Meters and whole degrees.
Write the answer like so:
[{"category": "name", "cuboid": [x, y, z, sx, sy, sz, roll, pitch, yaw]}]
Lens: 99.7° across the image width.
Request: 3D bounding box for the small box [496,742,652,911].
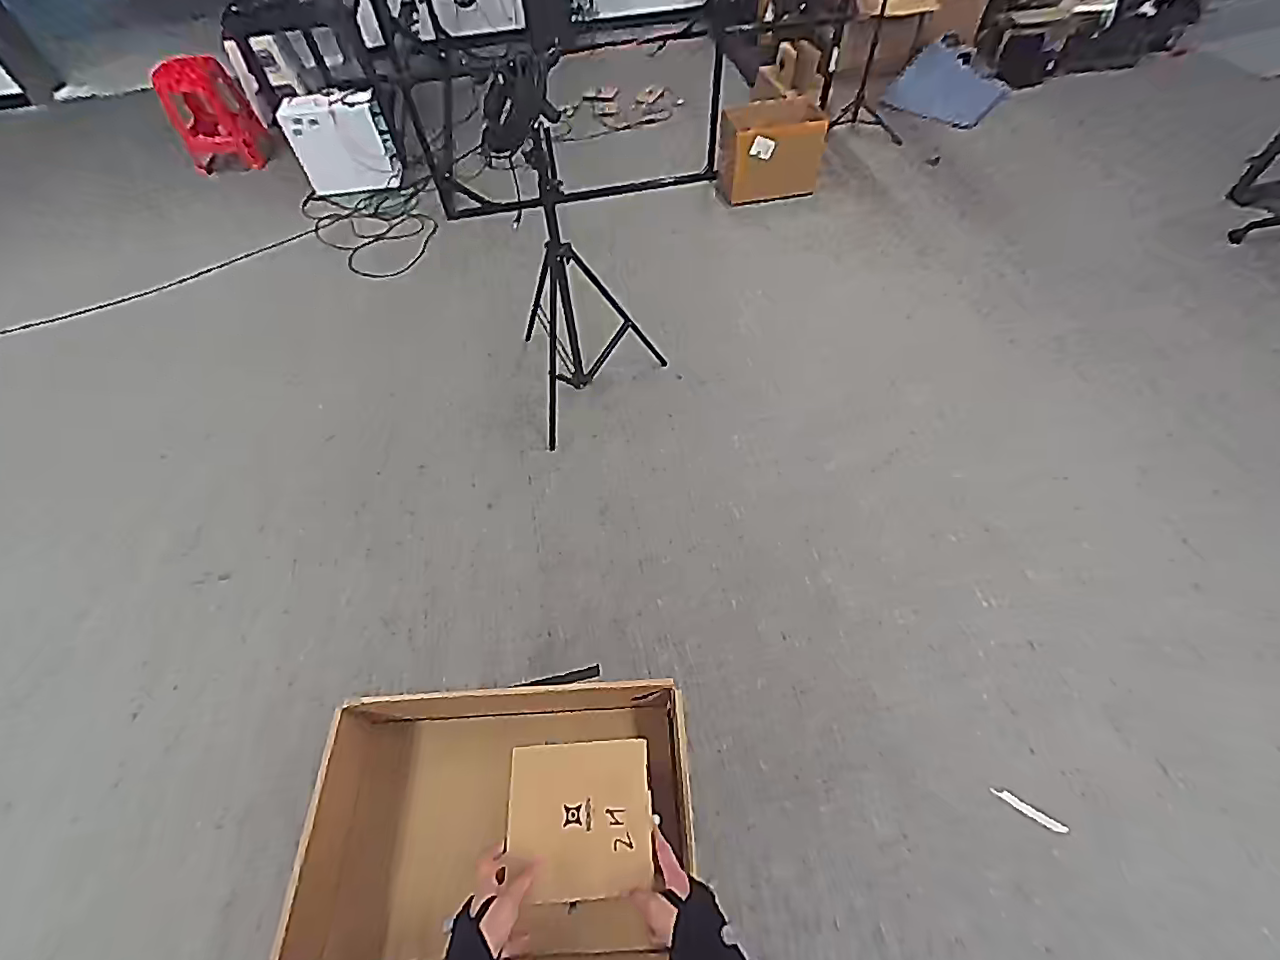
[{"category": "small box", "cuboid": [-0.077, 0.453, 0.705, 0.179, 0.176, 0.168, -2, 53, -3]}]
